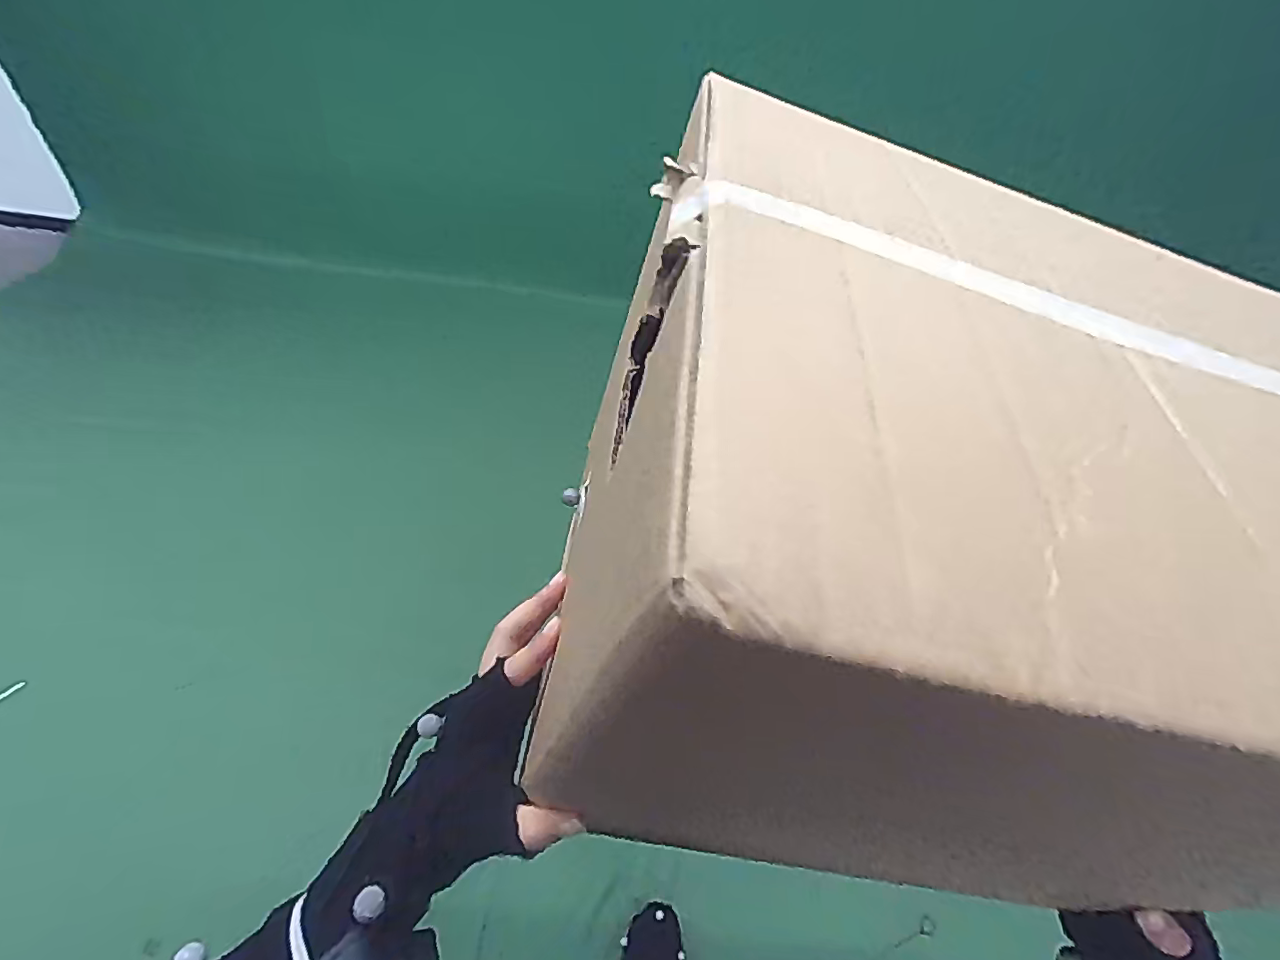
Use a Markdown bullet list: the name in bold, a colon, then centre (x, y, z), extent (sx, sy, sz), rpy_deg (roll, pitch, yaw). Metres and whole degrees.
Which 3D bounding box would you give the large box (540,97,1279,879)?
- **large box**: centre (0.178, 0.042, 0.347), extent (0.408, 0.320, 0.320), rpy_deg (15, 51, -10)
